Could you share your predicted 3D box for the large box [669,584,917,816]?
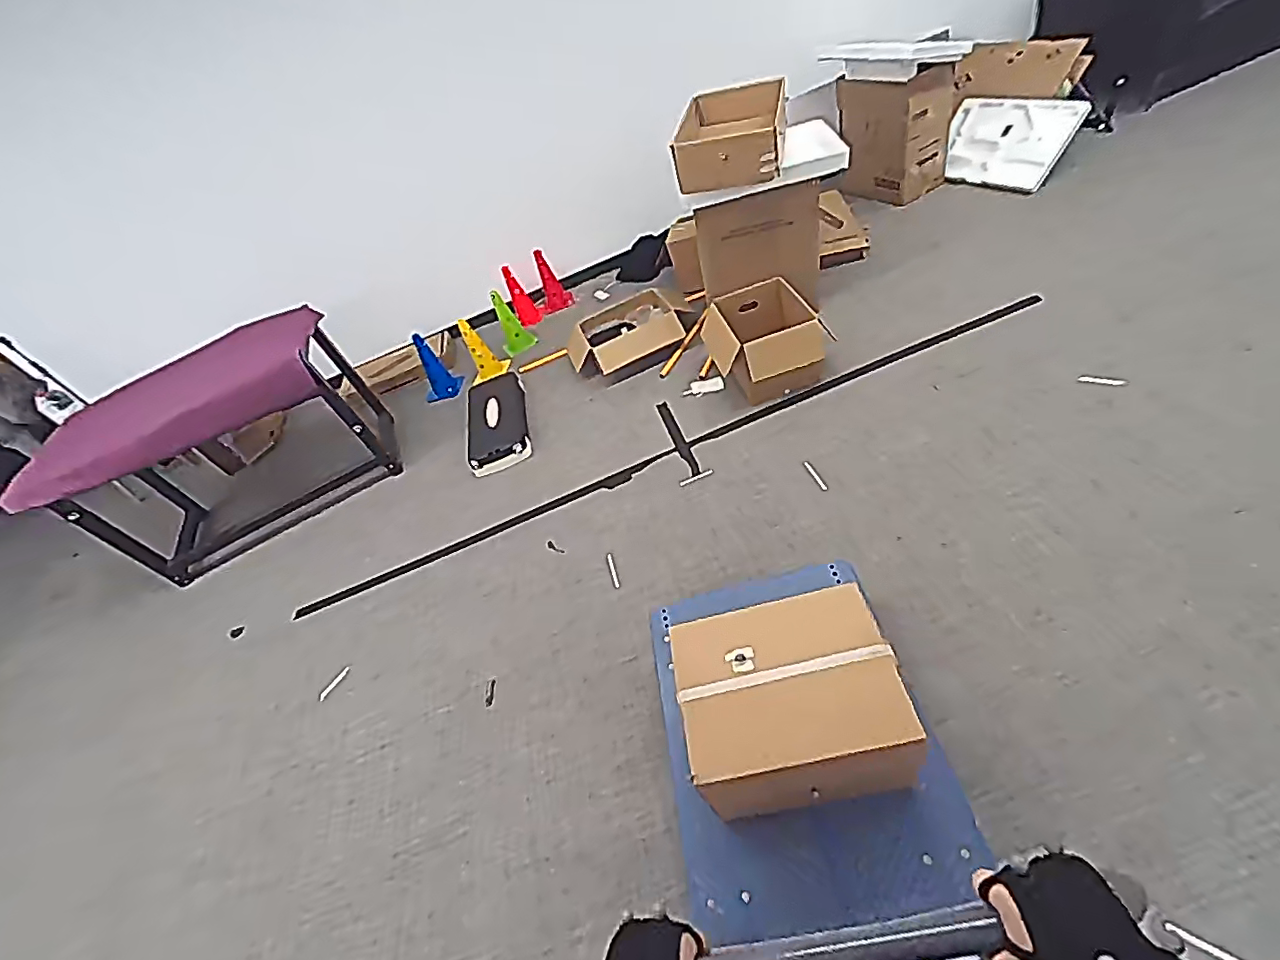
[{"bbox_3d":[0.312,0.475,1.149,0.408,0.320,0.320,-17,44,8],"label":"large box"}]
